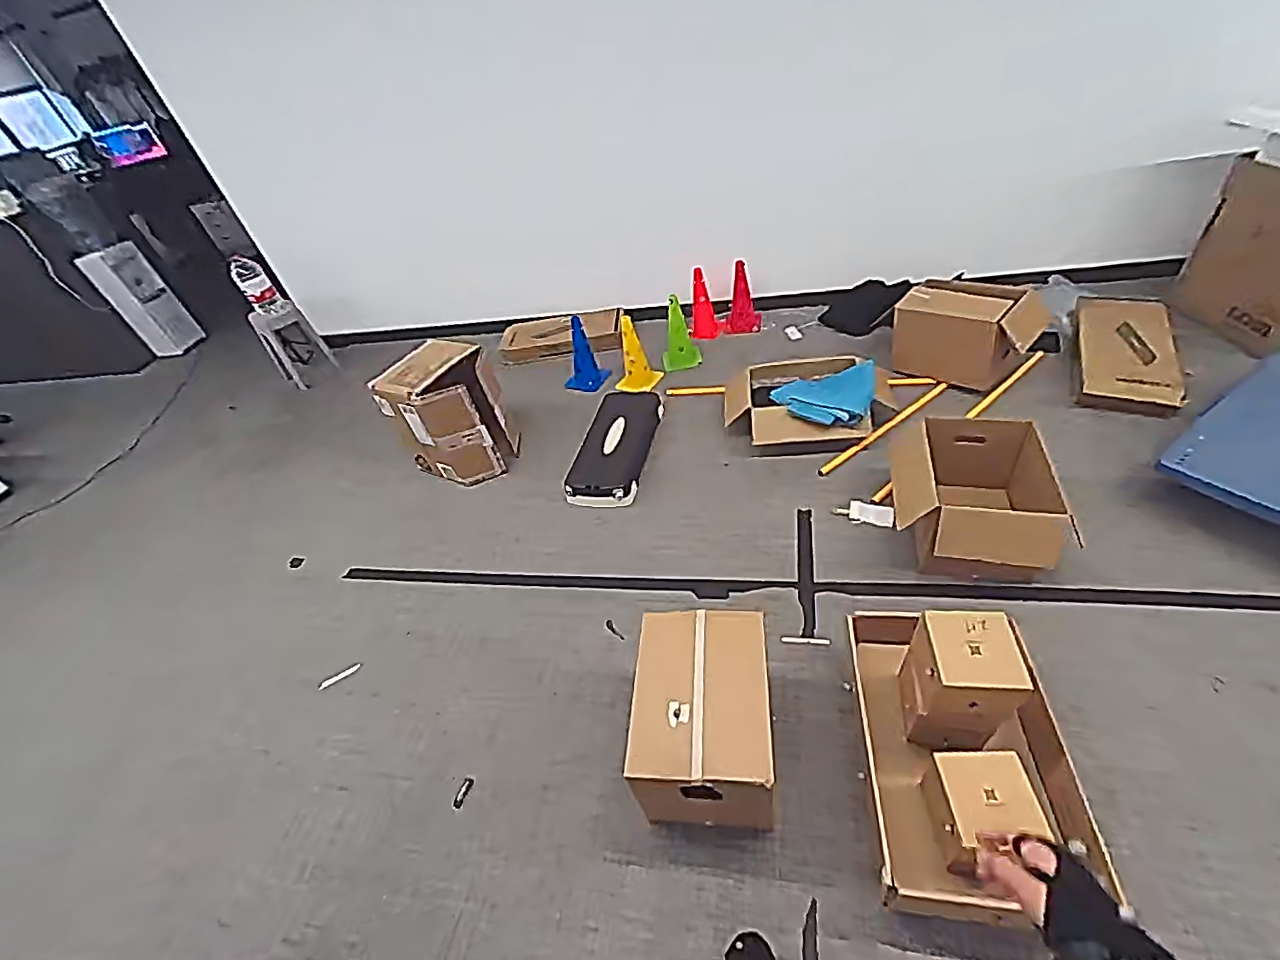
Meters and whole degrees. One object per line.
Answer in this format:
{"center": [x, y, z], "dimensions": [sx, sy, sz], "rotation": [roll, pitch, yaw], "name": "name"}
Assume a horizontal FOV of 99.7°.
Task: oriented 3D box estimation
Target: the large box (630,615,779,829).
{"center": [0.169, 0.590, 1.342], "dimensions": [0.320, 0.320, 0.408], "rotation": [-4, 44, 12], "name": "large box"}

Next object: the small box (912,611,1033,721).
{"center": [0.713, 0.407, 1.181], "dimensions": [0.168, 0.176, 0.179], "rotation": [-1, 45, 12], "name": "small box"}
